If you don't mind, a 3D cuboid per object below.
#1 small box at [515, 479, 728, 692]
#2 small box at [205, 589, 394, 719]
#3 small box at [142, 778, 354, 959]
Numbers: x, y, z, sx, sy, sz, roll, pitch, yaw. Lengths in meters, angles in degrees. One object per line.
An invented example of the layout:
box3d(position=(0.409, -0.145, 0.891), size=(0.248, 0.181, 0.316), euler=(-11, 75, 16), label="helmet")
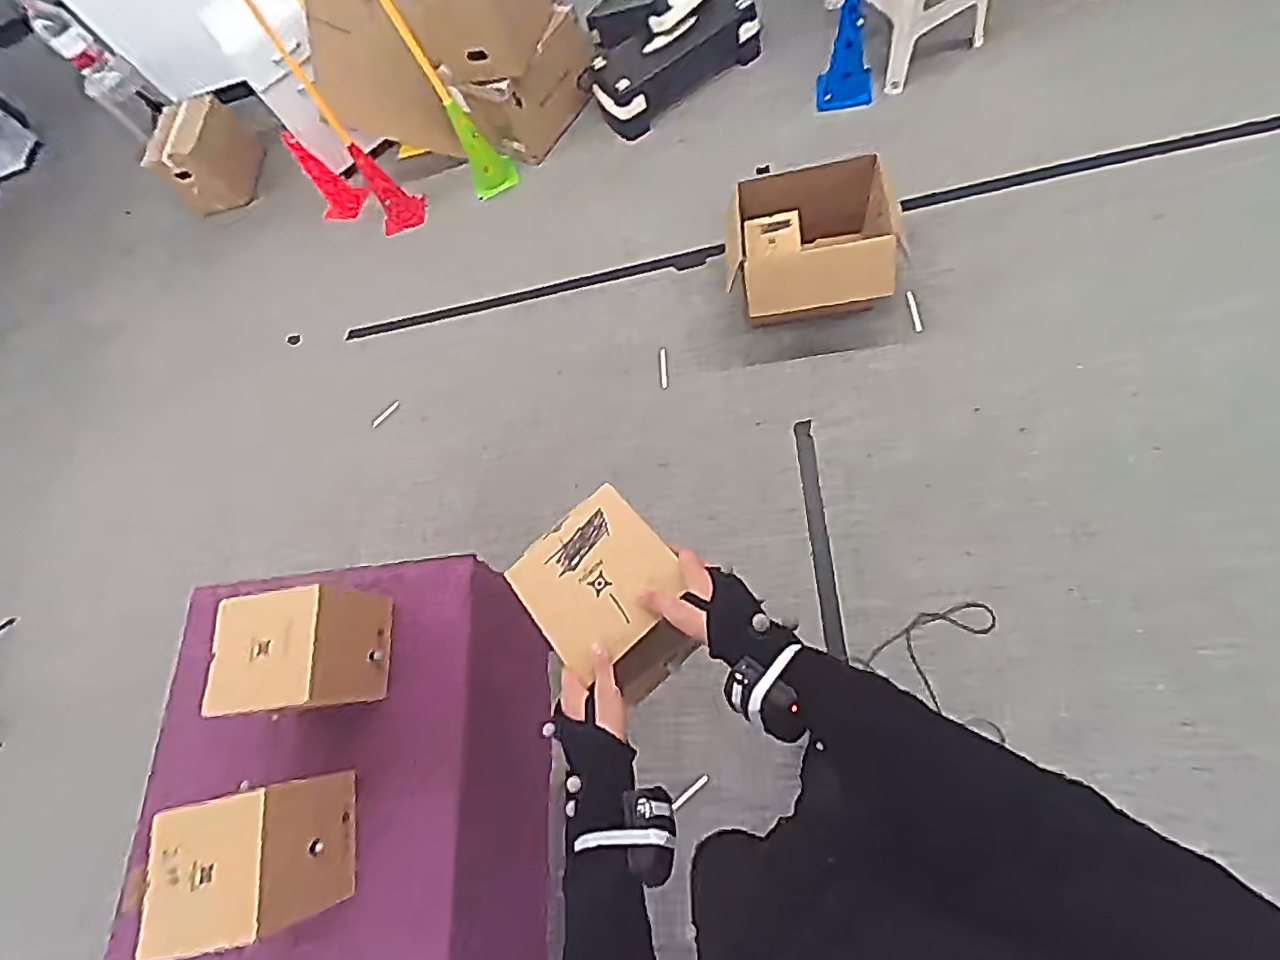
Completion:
box3d(position=(-0.016, 0.138, 0.671), size=(0.168, 0.176, 0.179), euler=(-42, 57, -4), label="small box")
box3d(position=(-0.522, 0.278, 0.852), size=(0.179, 0.176, 0.168), euler=(-12, 68, 11), label="small box")
box3d(position=(-0.530, 0.533, 0.757), size=(0.179, 0.176, 0.168), euler=(-17, 66, 9), label="small box")
